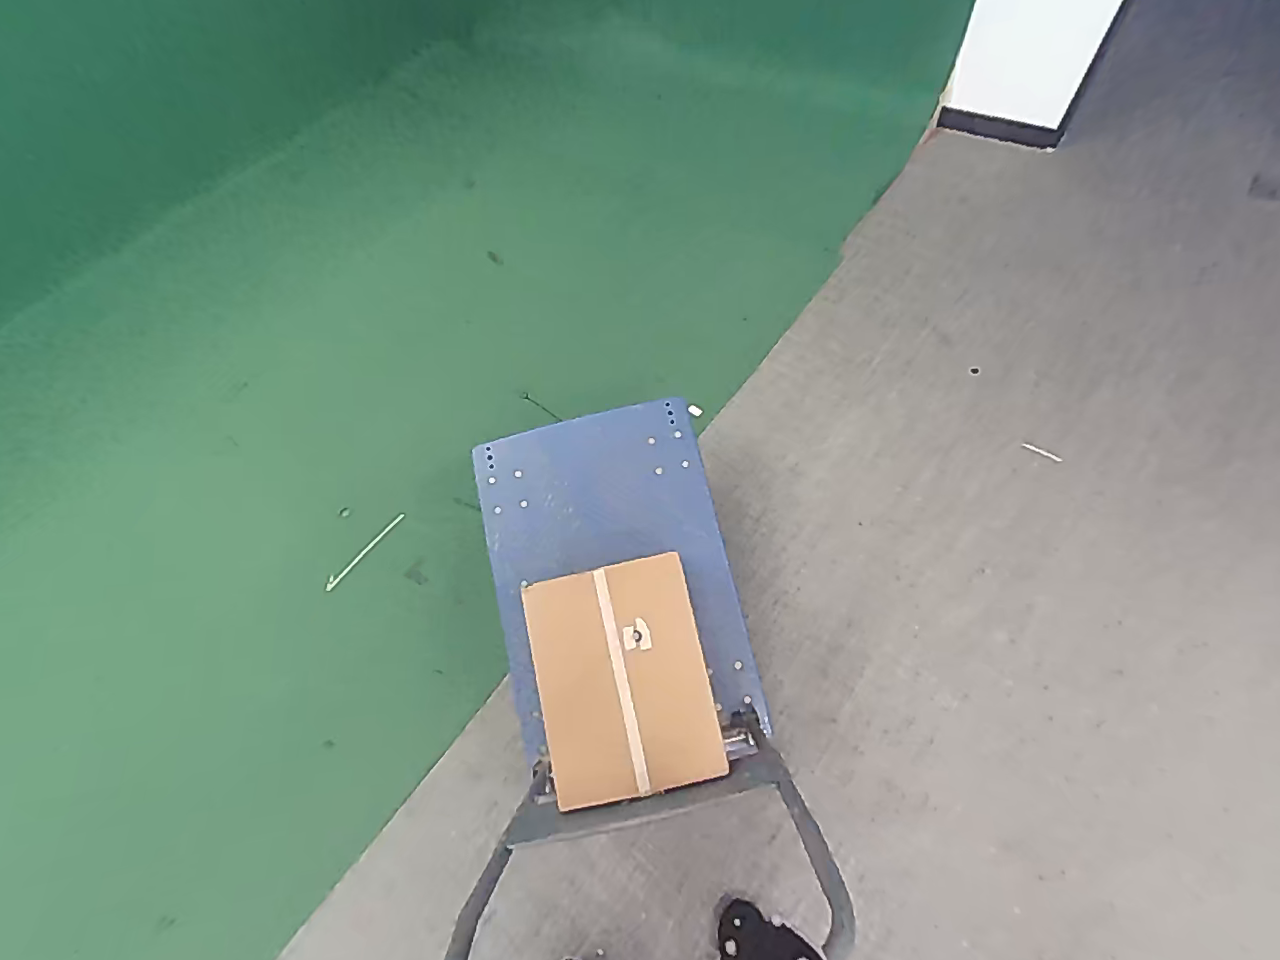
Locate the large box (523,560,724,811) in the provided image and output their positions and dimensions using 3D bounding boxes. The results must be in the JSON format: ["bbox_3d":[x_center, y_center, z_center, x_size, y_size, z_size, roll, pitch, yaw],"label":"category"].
[{"bbox_3d":[-0.026,0.409,1.158,0.320,0.320,0.408,-13,77,1],"label":"large box"}]
